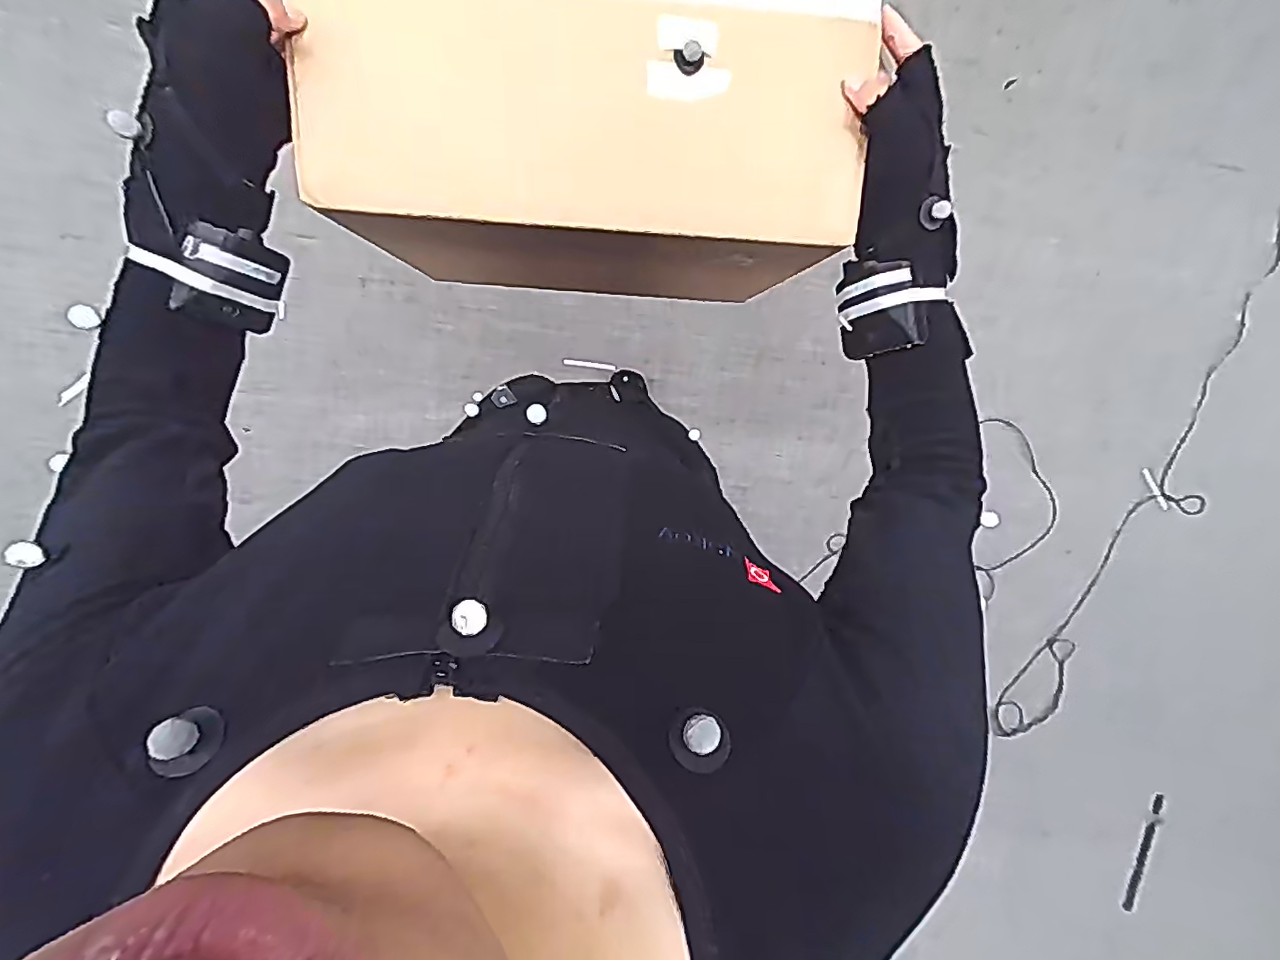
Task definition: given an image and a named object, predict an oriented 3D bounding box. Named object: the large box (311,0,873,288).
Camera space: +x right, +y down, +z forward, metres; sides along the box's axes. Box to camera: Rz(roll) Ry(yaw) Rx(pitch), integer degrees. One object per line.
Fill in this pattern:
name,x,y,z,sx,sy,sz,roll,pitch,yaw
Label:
large box,-0.040,-0.377,0.525,0.408,0.320,0.320,1,101,-5
